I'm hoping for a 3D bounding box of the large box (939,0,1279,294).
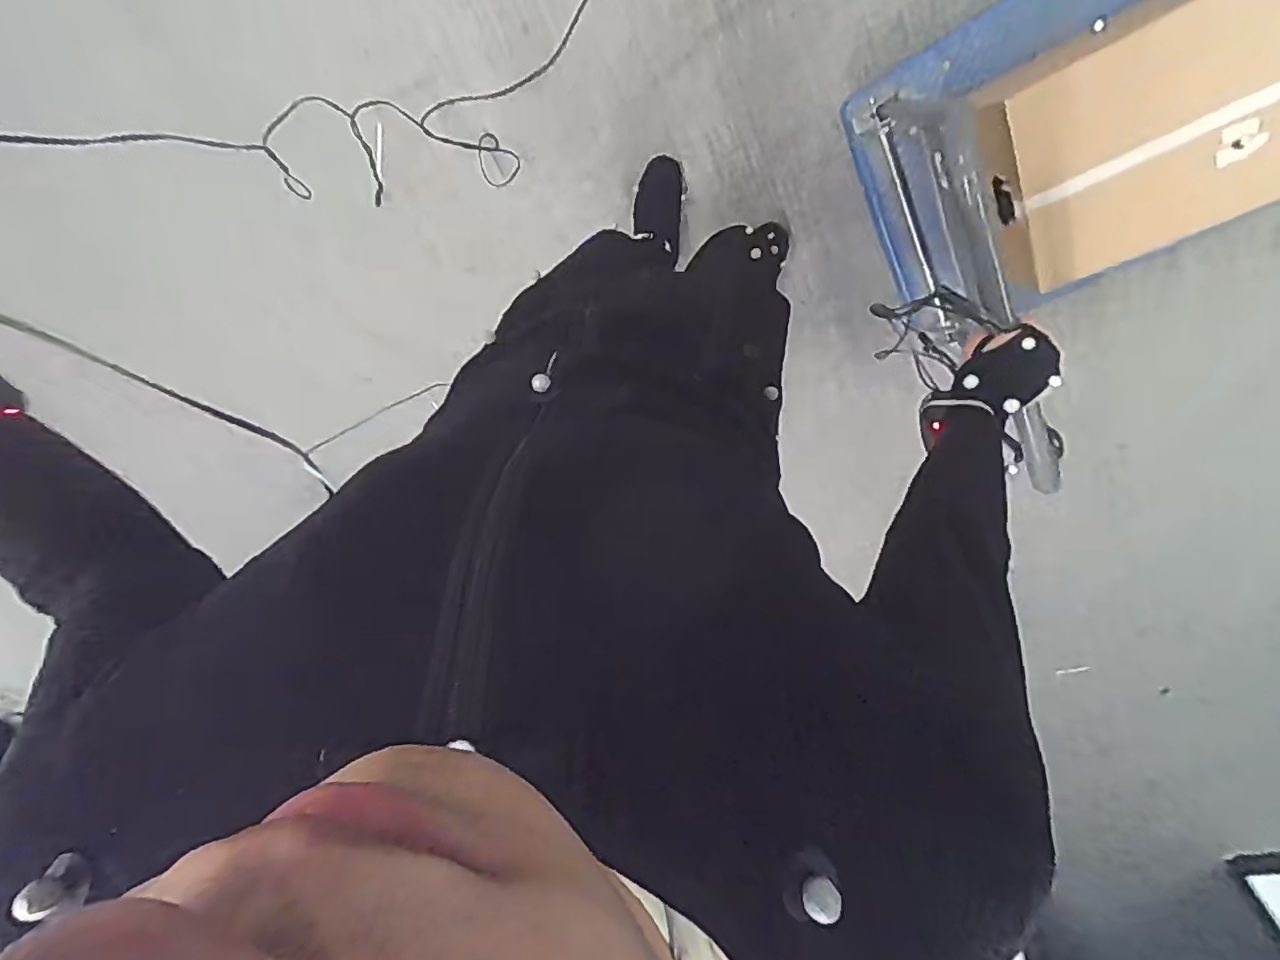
[{"bbox_3d":[0.792,-0.573,0.904,0.408,0.320,0.320,-21,116,21],"label":"large box"}]
